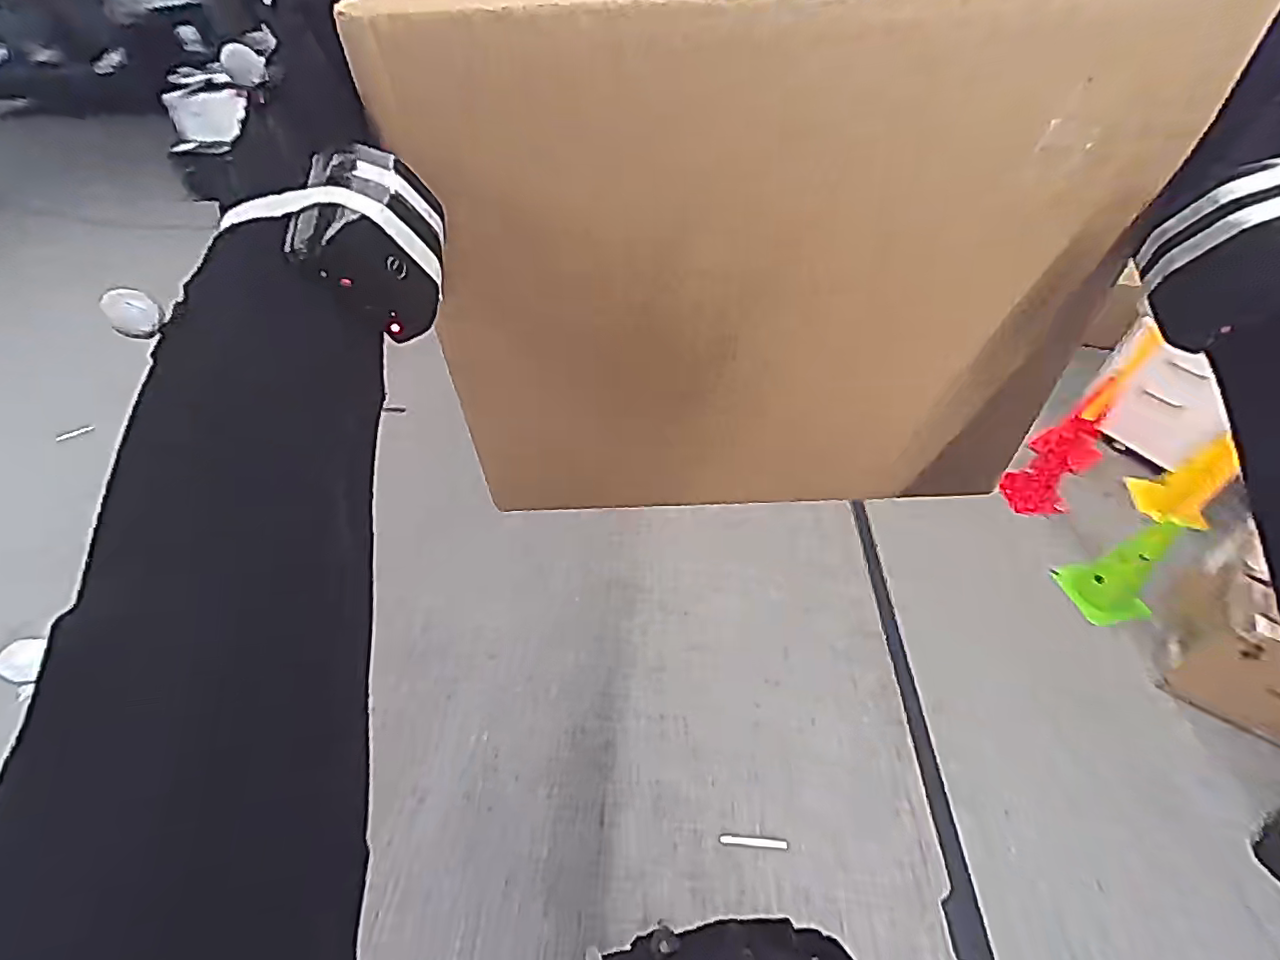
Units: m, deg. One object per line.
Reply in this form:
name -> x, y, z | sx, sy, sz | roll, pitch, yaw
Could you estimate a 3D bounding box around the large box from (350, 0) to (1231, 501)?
large box -> 0.066, -0.202, 0.444 | 0.408, 0.320, 0.320 | -3, 44, -1
